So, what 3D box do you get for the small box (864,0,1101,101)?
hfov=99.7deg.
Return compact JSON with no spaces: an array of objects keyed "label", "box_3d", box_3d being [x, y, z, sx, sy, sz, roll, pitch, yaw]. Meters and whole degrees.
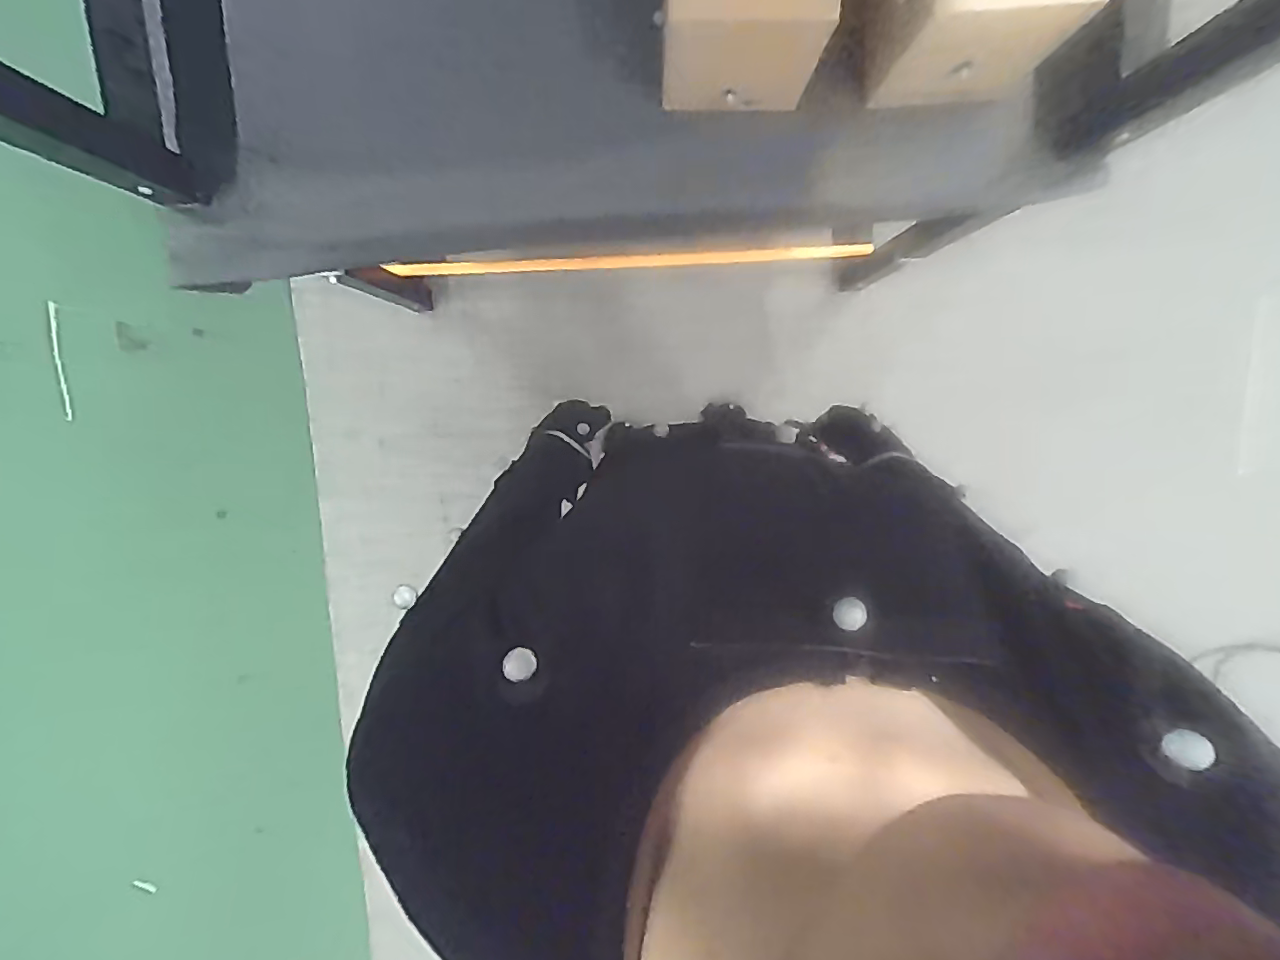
[{"label":"small box","box_3d":[0.355,-0.540,0.582,0.168,0.176,0.179,-3,97,1]}]
